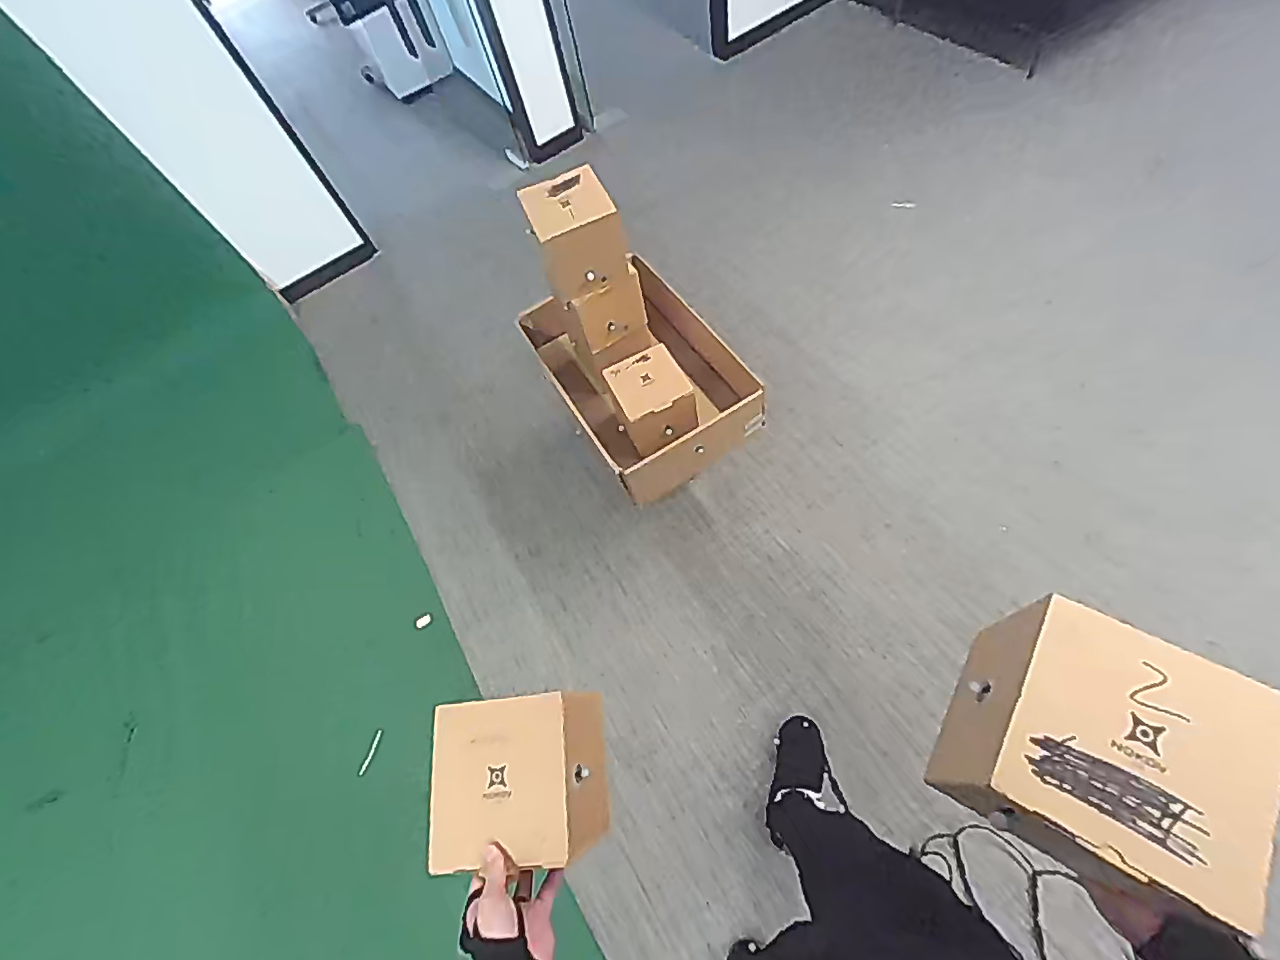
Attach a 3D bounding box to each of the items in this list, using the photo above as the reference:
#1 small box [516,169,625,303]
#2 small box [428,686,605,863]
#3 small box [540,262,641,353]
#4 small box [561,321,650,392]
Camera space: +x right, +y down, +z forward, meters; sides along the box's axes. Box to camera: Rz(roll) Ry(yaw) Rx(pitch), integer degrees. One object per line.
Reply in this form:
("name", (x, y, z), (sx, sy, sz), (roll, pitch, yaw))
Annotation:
("small box", (-0.144, -0.519, 1.163), (0.168, 0.176, 0.179), (-24, 63, -3))
("small box", (-0.146, 0.361, 0.690), (0.168, 0.176, 0.179), (-9, 67, 9))
("small box", (-0.114, -0.444, 1.306), (0.168, 0.176, 0.179), (-32, 63, -8))
("small box", (-0.092, -0.372, 1.449), (0.168, 0.176, 0.179), (-32, 63, -7))
